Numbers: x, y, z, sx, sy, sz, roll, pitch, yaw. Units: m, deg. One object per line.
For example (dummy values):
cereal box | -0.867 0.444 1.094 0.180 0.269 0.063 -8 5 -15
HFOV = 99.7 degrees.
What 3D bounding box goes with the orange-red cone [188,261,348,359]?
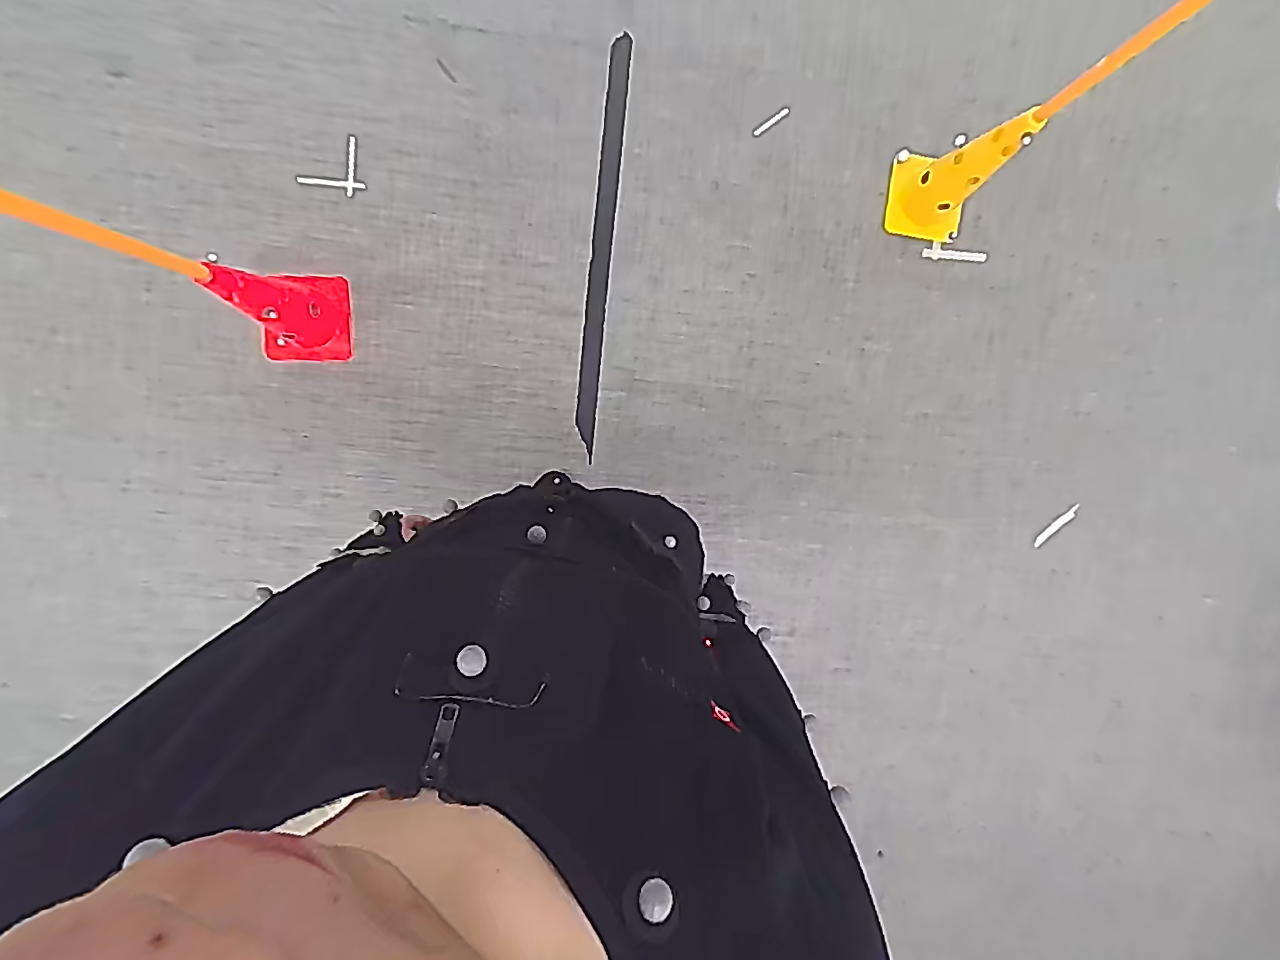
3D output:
orange-red cone | -0.769 -0.371 1.096 0.199 0.360 0.198 0 95 -6
